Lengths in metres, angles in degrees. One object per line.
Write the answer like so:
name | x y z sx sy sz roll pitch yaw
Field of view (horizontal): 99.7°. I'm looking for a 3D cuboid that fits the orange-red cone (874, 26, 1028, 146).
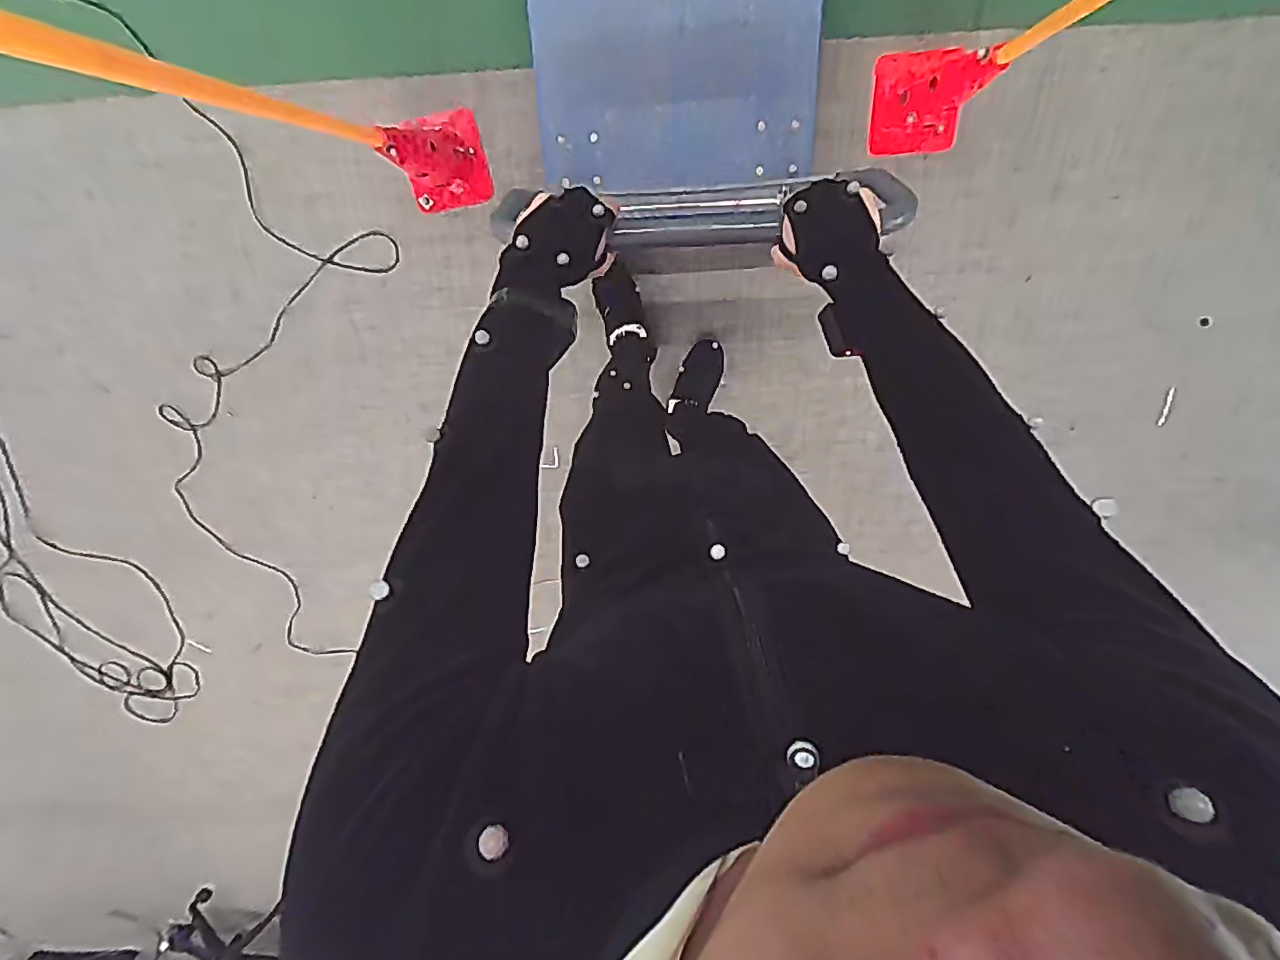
orange-red cone | 0.627 -0.800 1.056 0.198 0.360 0.199 -2 112 3
